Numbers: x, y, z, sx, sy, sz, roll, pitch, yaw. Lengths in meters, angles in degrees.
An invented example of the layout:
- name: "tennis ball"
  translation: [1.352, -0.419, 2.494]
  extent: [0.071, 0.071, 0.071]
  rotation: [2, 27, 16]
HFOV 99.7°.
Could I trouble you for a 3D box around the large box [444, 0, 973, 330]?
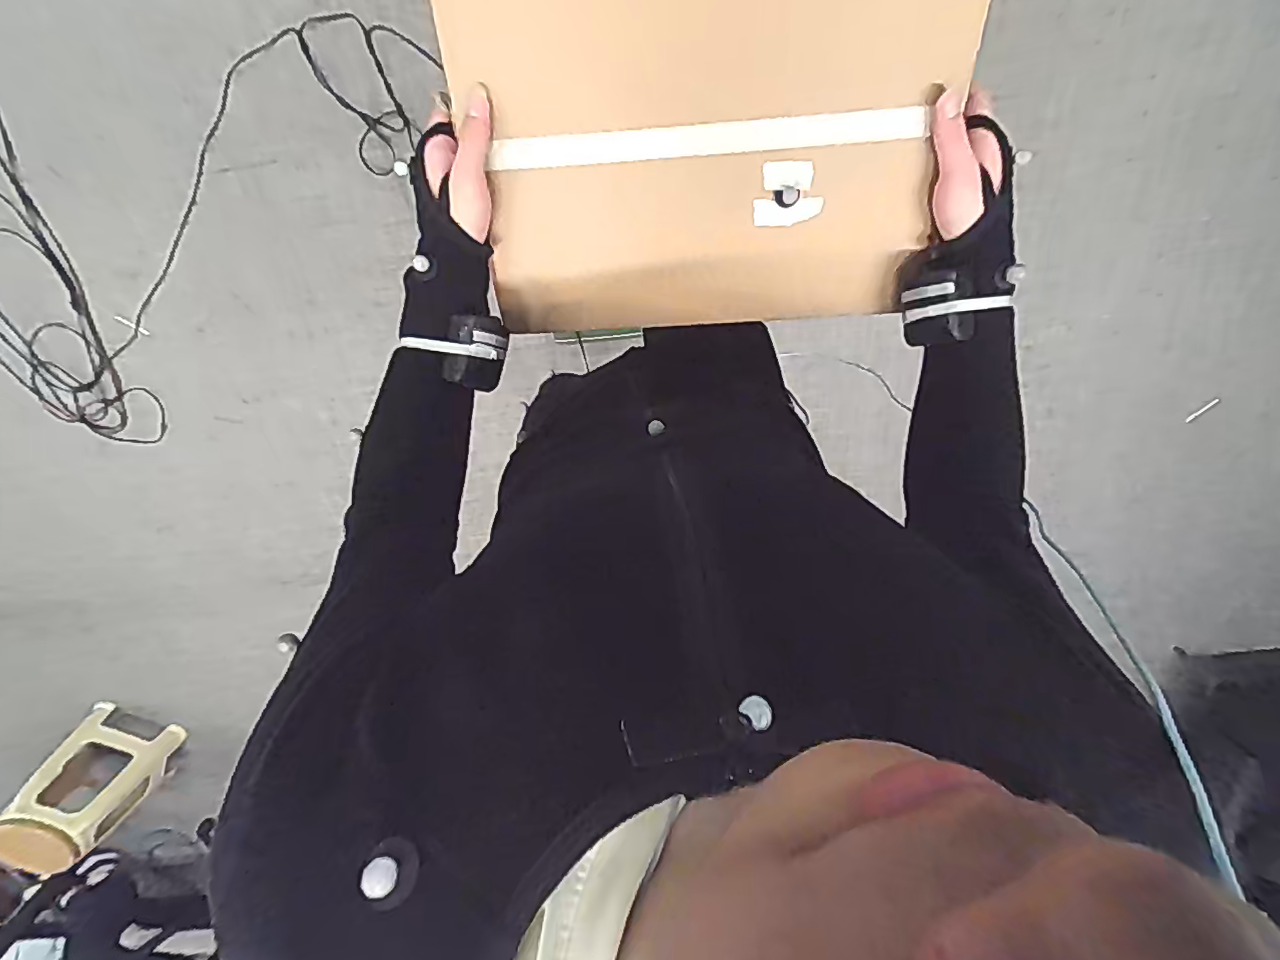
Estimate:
- name: "large box"
  translation: [0.056, -0.373, 0.577]
  extent: [0.408, 0.320, 0.320]
  rotation: [-3, 125, 2]
